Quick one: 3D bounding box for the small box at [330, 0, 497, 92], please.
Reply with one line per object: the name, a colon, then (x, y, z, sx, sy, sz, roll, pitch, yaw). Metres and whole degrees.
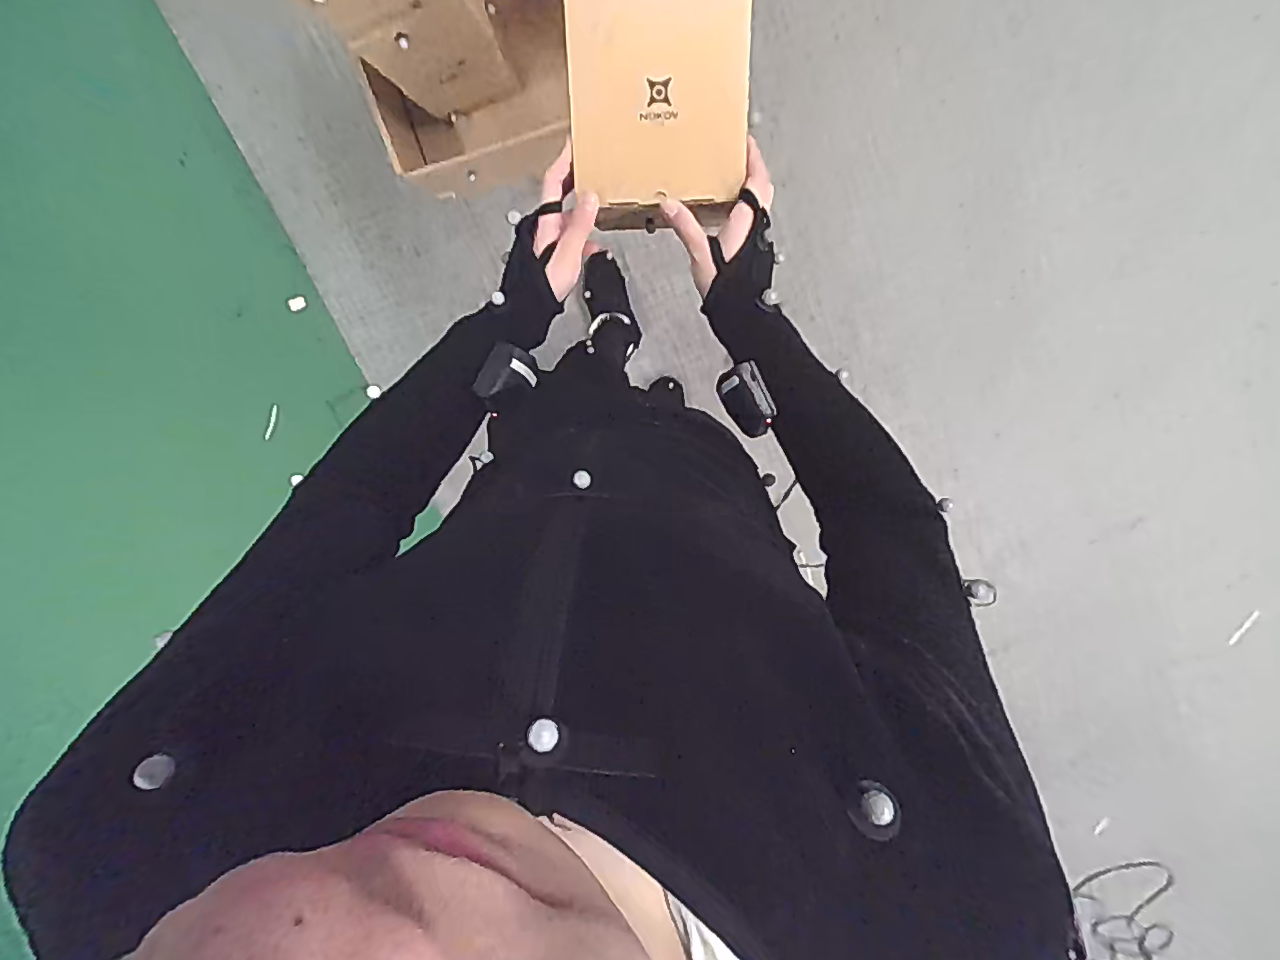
small box: (-0.318, -0.678, 0.734, 0.168, 0.176, 0.179, -17, 107, 8)

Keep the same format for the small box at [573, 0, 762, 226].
small box: (0.026, -0.371, 0.561, 0.168, 0.176, 0.179, -1, 109, 2)
